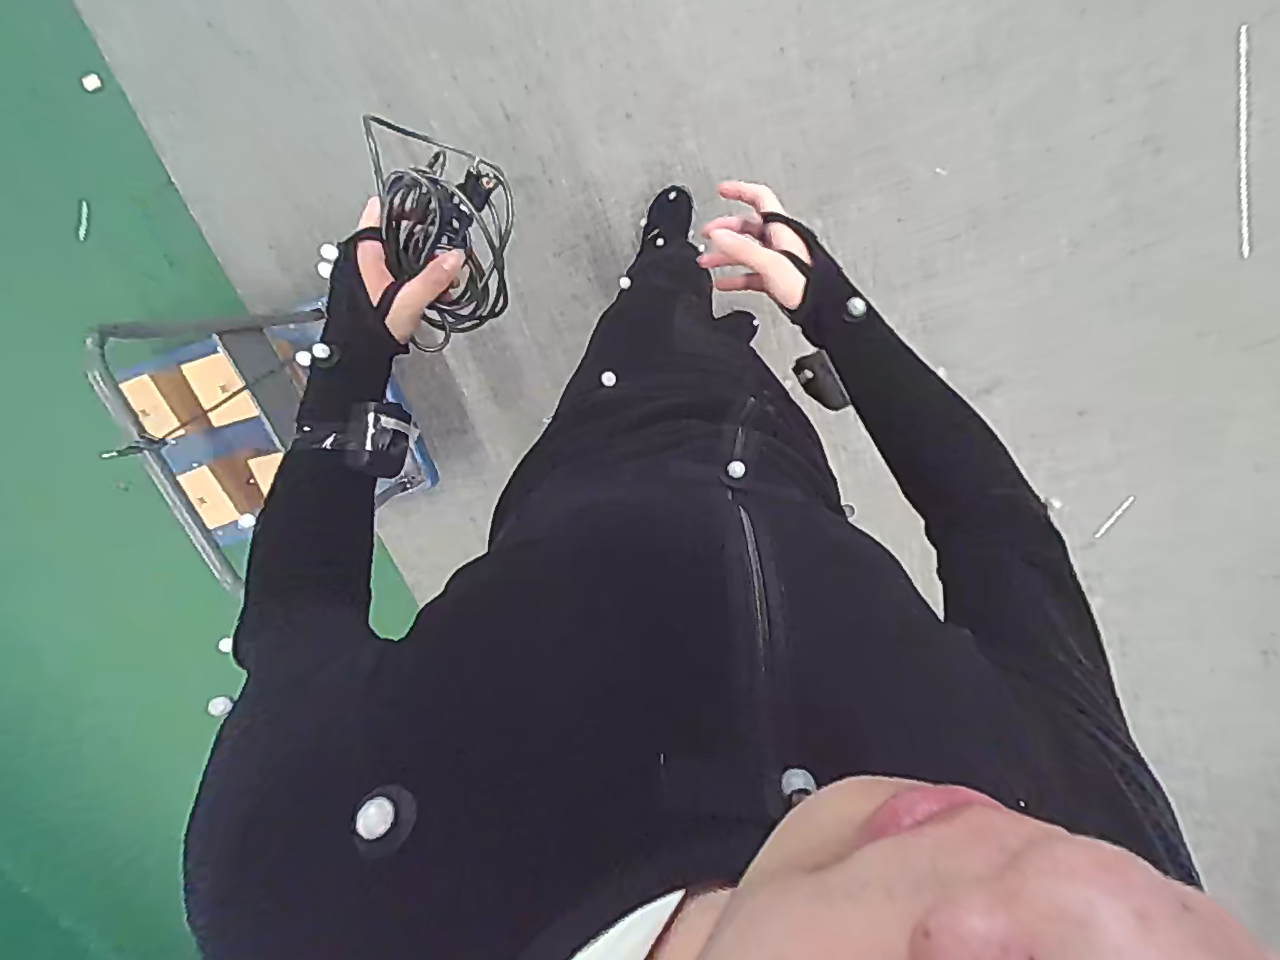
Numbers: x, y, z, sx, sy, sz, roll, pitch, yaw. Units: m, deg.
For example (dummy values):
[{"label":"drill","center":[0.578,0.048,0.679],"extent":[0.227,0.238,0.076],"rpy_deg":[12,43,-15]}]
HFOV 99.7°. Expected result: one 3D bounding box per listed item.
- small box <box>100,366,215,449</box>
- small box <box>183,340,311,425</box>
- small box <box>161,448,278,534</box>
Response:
[{"label":"small box","center":[-1.269,-0.204,1.463],"extent":[0.179,0.176,0.168],"rpy_deg":[-16,109,12]},{"label":"small box","center":[-1.015,-0.259,1.413],"extent":[0.179,0.176,0.168],"rpy_deg":[-13,109,11]},{"label":"small box","center":[-1.182,0.026,1.542],"extent":[0.179,0.176,0.168],"rpy_deg":[-18,107,13]}]
